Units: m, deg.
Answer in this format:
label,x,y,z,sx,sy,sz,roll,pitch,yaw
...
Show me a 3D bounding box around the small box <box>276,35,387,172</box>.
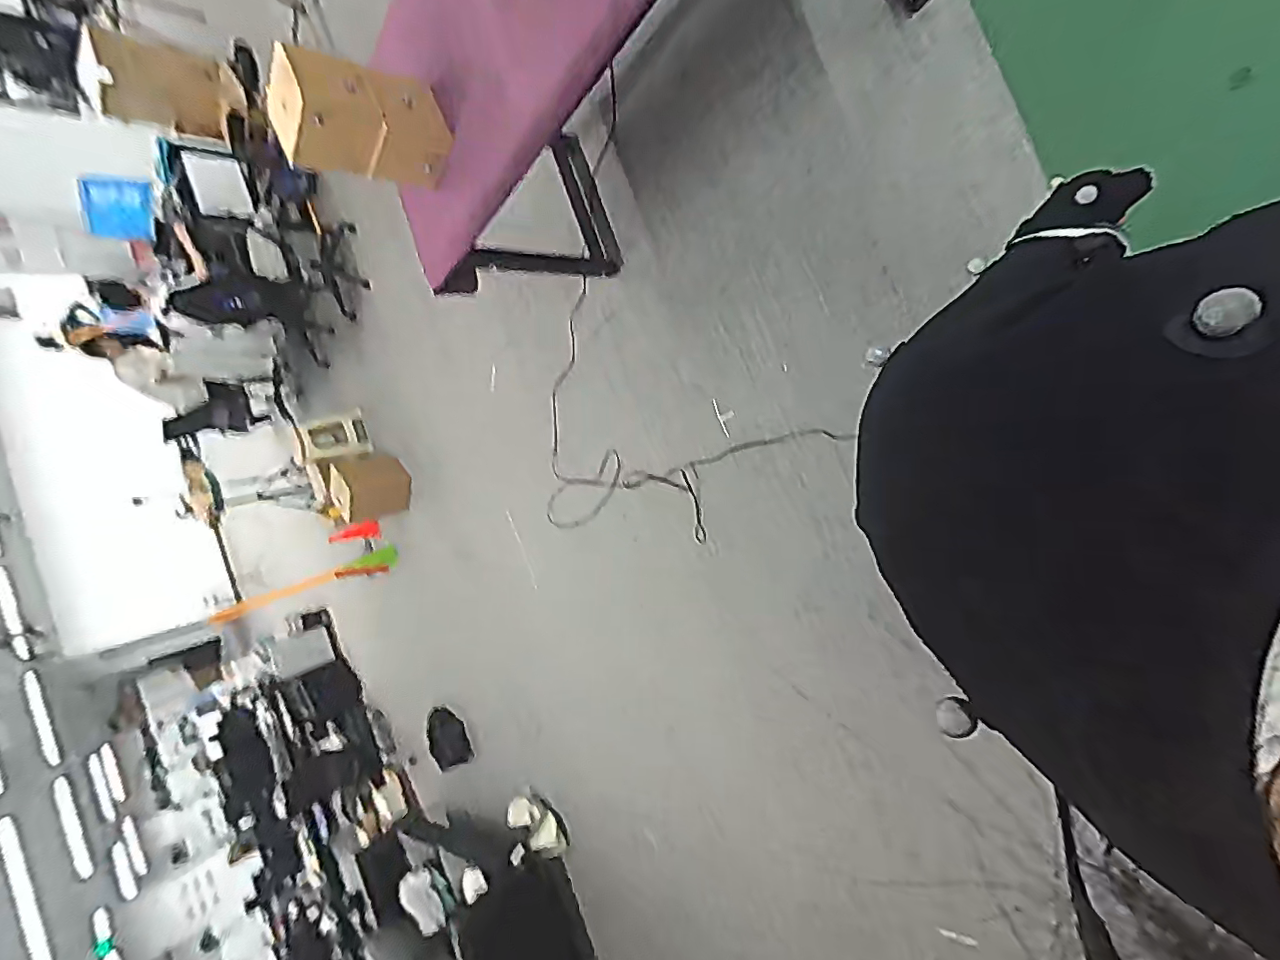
label,x,y,z,sx,sy,sz,roll,pitch,yaw
small box,-0.696,-0.836,1.225,0.179,0.176,0.168,-35,78,44
